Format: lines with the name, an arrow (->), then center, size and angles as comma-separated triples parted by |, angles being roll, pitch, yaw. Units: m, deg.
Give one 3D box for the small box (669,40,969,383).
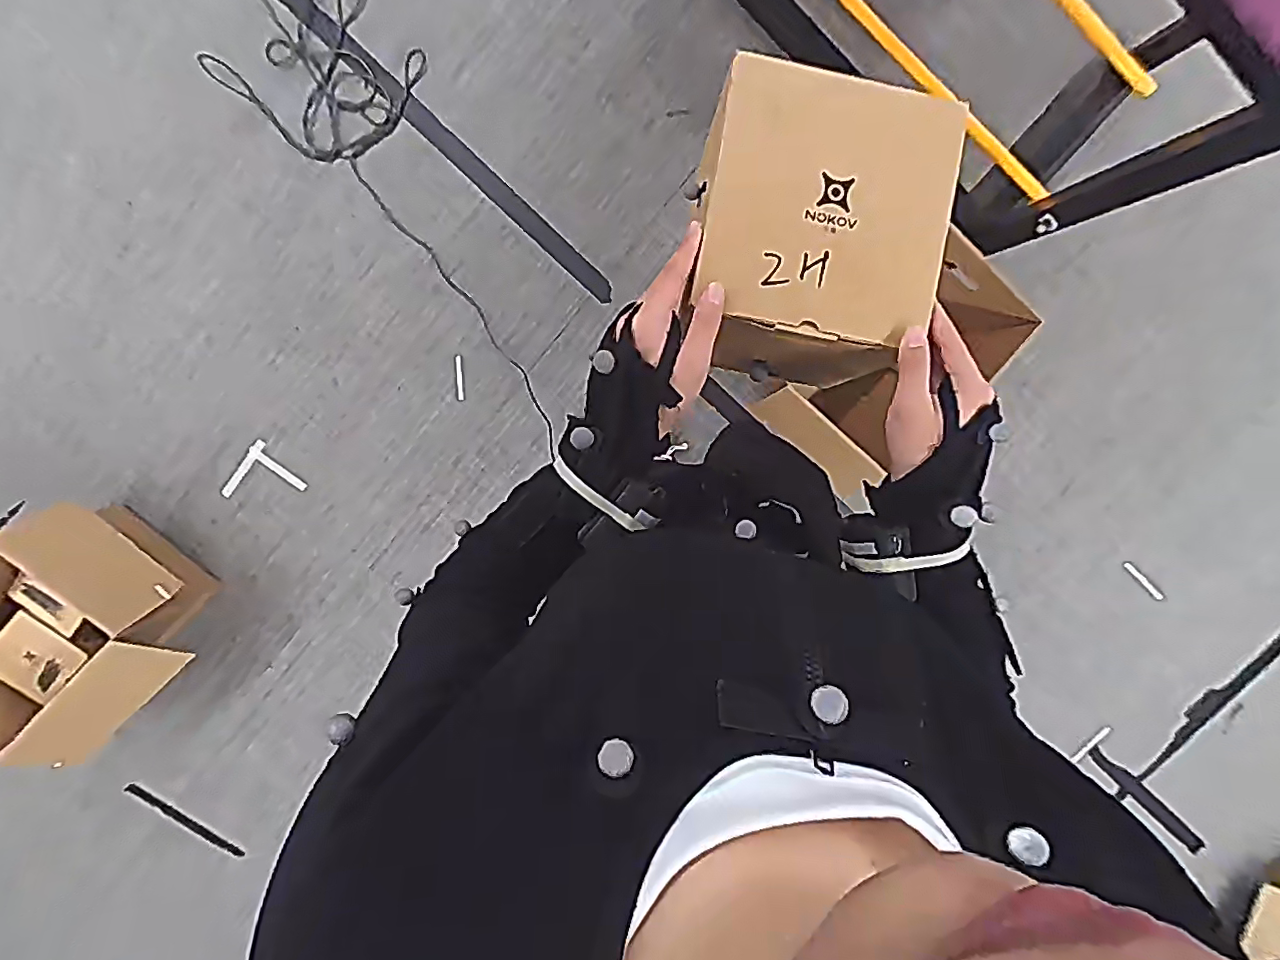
small box -> 0.123, -0.191, 0.440 | 0.168, 0.176, 0.179 | 10, 90, -4
